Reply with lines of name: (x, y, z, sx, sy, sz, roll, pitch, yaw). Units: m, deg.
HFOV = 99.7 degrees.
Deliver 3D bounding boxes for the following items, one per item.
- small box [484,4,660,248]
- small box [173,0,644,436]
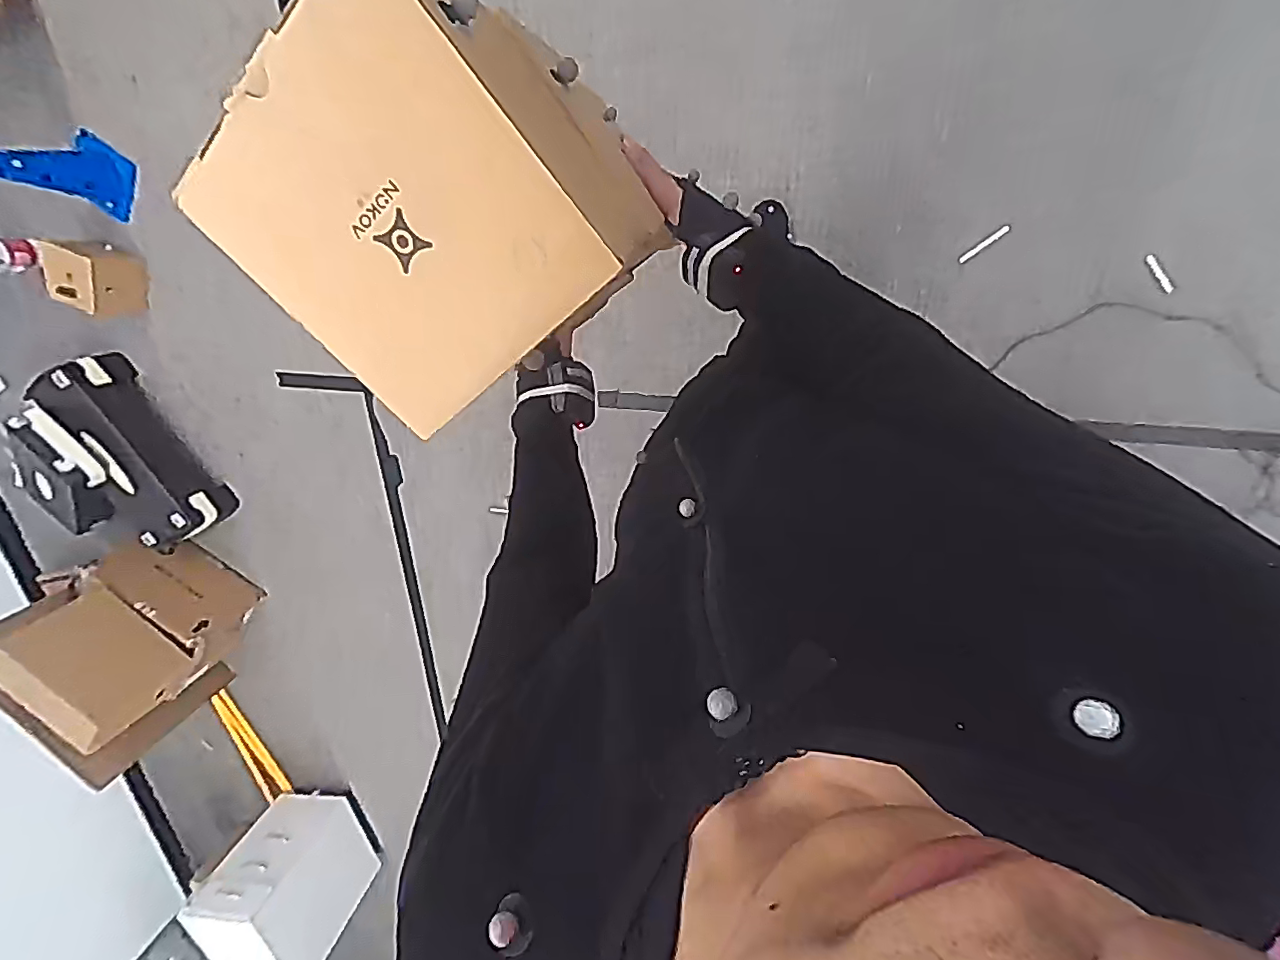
small box: (-0.097, -0.250, 0.478, 0.168, 0.176, 0.179, -31, 112, 22)
small box: (-0.113, -0.166, 0.340, 0.168, 0.176, 0.179, -34, 110, 22)
